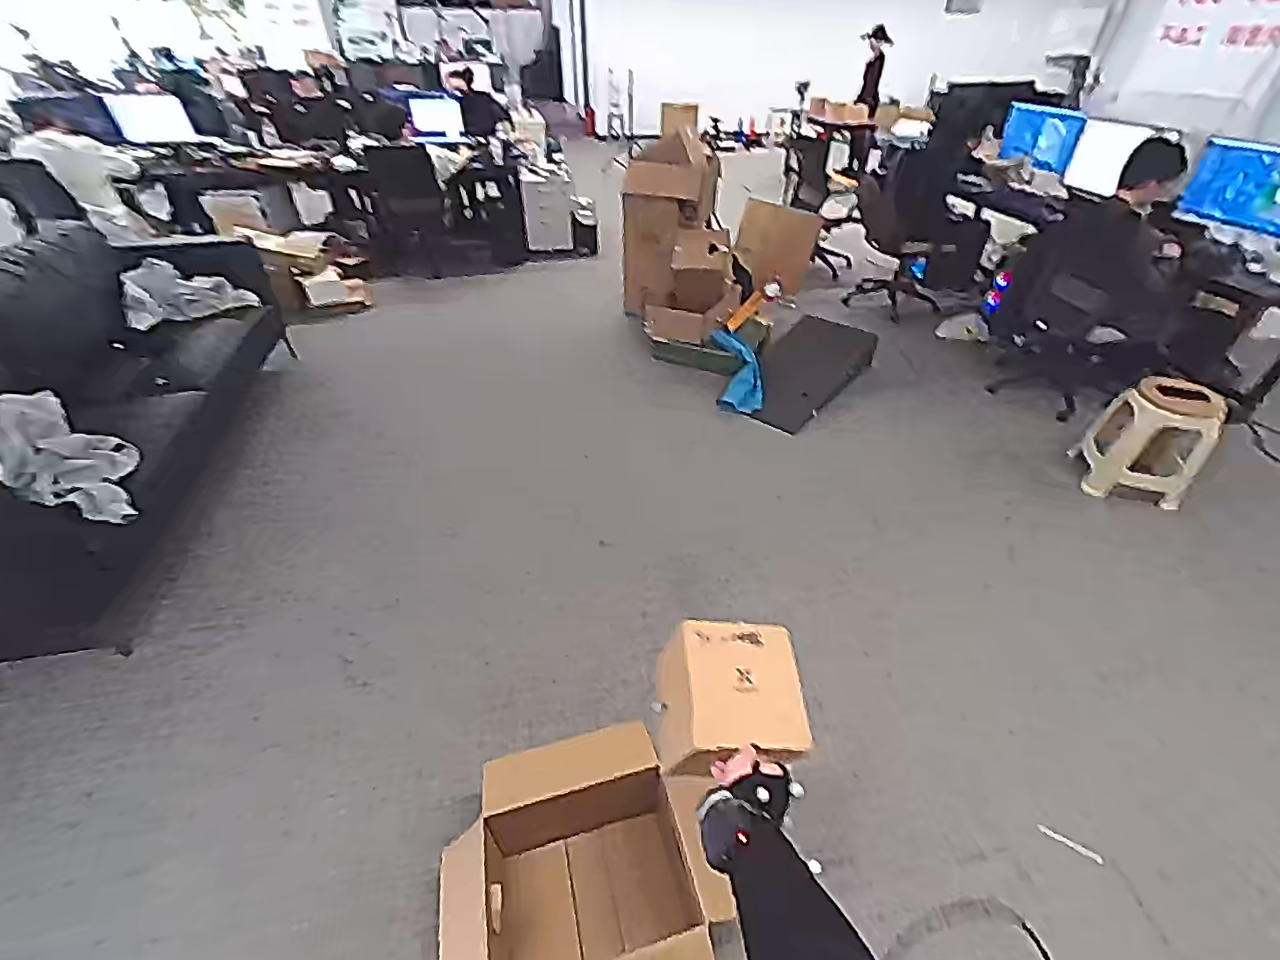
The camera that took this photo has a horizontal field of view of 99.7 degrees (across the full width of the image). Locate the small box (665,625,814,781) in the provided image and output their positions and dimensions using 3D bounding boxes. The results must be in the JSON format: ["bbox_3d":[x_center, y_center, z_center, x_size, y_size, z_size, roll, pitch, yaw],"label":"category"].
[{"bbox_3d":[0.136,0.340,0.813,0.168,0.176,0.179,7,49,-9],"label":"small box"}]
